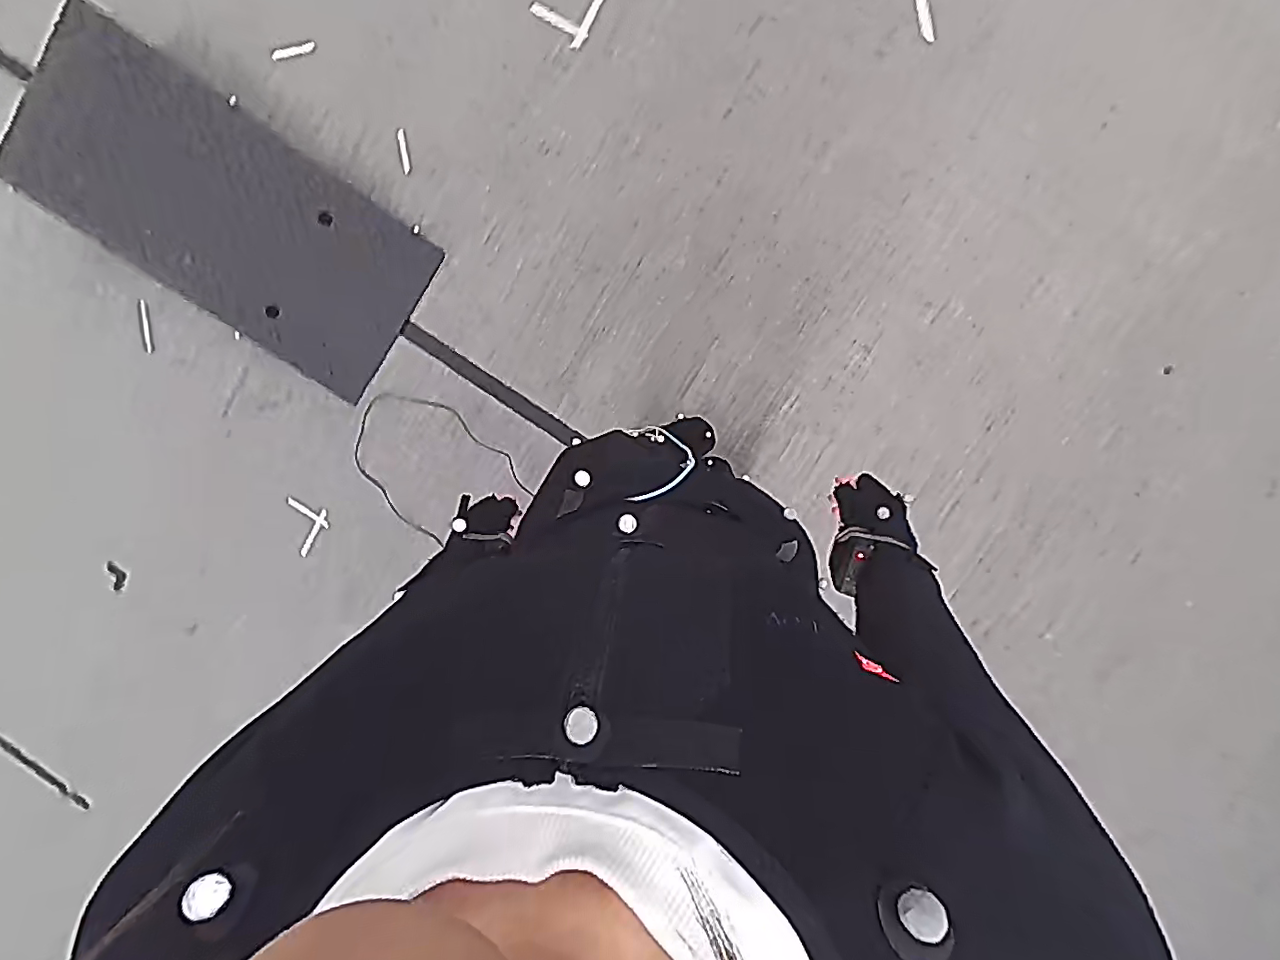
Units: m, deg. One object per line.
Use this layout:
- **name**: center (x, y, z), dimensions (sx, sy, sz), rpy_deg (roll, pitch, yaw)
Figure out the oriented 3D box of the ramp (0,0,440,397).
- **ramp**: center (-1.063, -0.694, 1.386), dimensions (0.991, 0.206, 0.509), rpy_deg (34, 97, 1)
